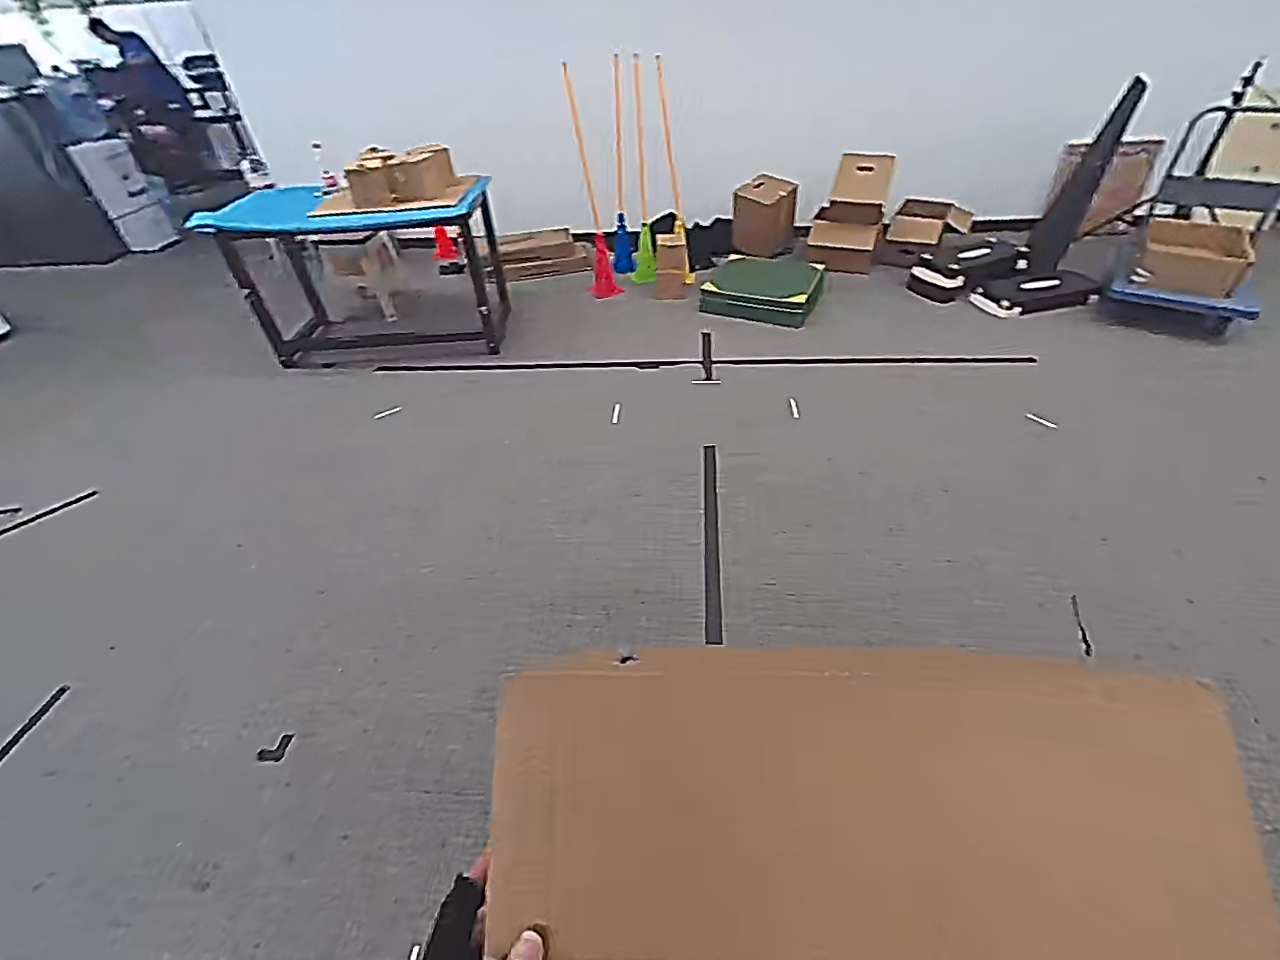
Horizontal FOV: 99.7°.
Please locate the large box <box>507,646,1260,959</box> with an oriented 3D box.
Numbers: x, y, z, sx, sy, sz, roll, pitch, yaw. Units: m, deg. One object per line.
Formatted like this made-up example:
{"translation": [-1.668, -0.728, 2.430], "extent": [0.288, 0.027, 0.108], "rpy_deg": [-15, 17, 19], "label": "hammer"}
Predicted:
{"translation": [0.132, 0.303, 0.436], "extent": [0.408, 0.320, 0.320], "rpy_deg": [-2, 77, 5], "label": "large box"}
